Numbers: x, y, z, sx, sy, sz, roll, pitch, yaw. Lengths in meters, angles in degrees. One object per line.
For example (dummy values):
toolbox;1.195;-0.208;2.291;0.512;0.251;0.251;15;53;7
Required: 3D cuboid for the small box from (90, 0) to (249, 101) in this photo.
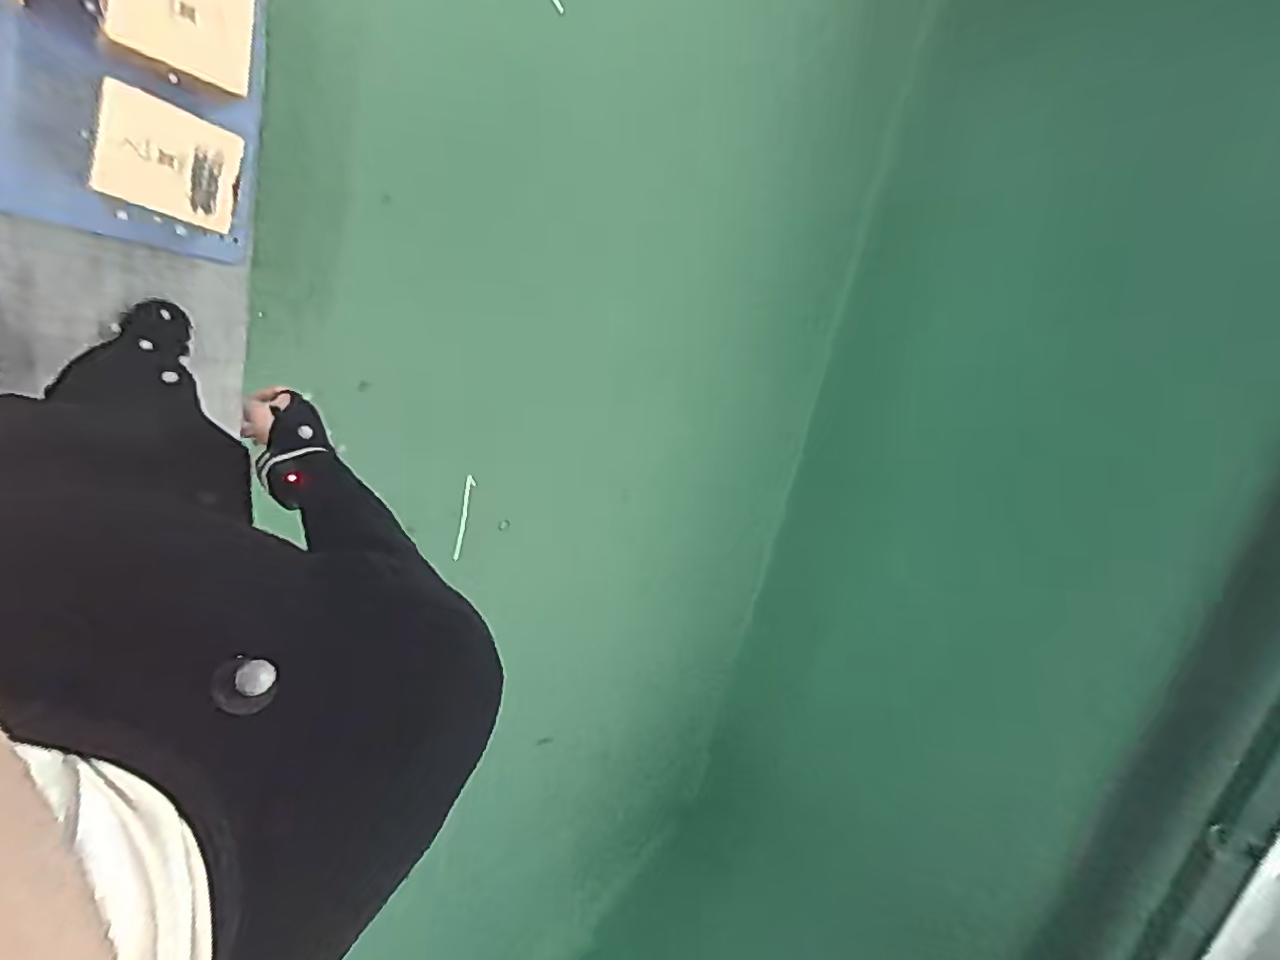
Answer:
small box;-0.766;-0.750;0.879;0.179;0.176;0.168;1;108;-49
